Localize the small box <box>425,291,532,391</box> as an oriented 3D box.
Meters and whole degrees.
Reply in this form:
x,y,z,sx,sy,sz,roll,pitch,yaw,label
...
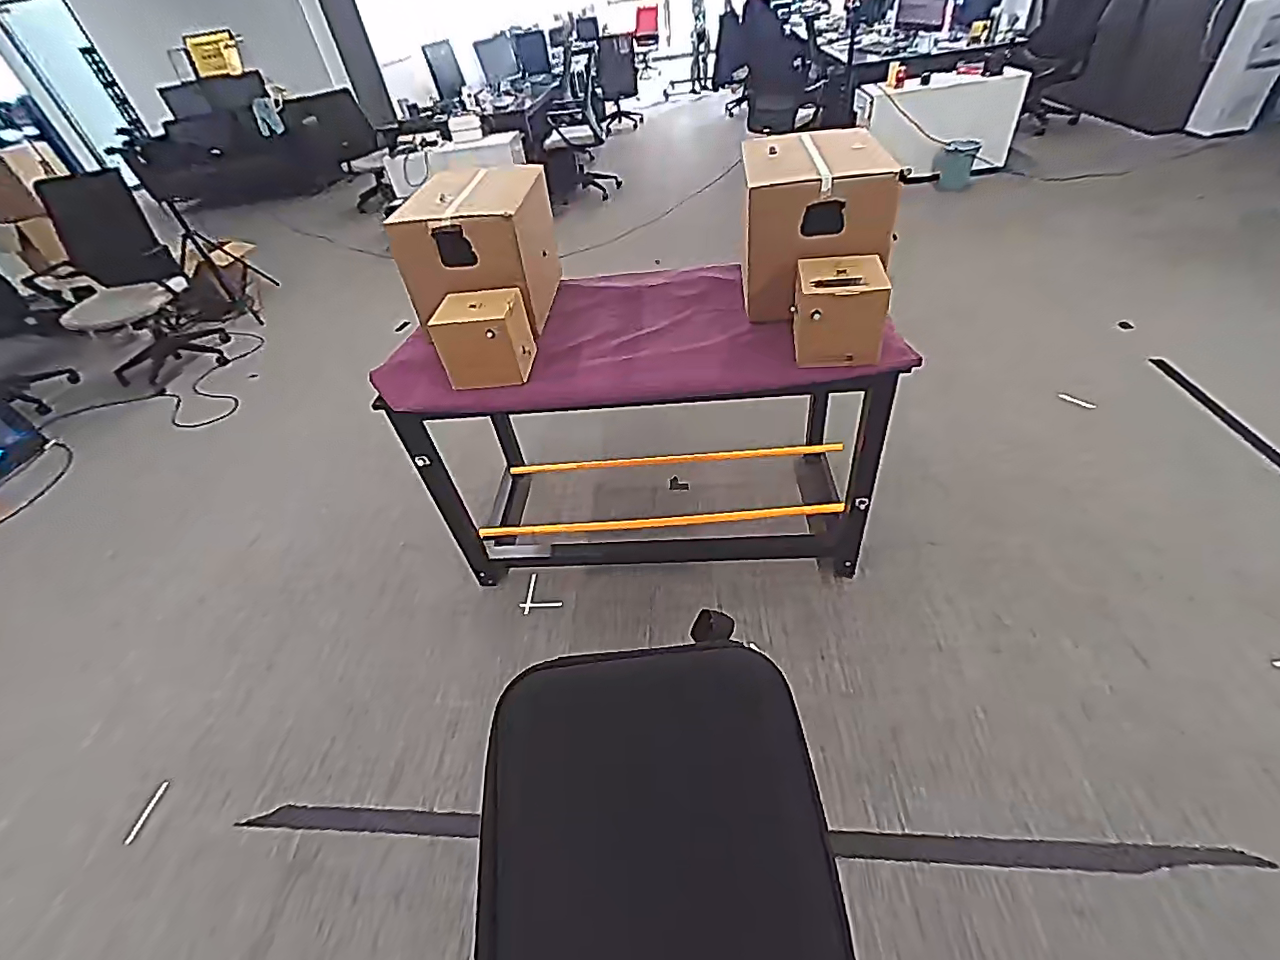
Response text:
x,y,z,sx,sy,sz,roll,pitch,yaw,label
-0.367,-0.322,1.265,0.179,0.176,0.168,-4,41,4,small box

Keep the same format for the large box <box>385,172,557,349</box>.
x,y,z,sx,sy,sz,roll,pitch,yaw,label
-0.420,-0.599,1.470,0.320,0.320,0.408,-3,45,5,large box
